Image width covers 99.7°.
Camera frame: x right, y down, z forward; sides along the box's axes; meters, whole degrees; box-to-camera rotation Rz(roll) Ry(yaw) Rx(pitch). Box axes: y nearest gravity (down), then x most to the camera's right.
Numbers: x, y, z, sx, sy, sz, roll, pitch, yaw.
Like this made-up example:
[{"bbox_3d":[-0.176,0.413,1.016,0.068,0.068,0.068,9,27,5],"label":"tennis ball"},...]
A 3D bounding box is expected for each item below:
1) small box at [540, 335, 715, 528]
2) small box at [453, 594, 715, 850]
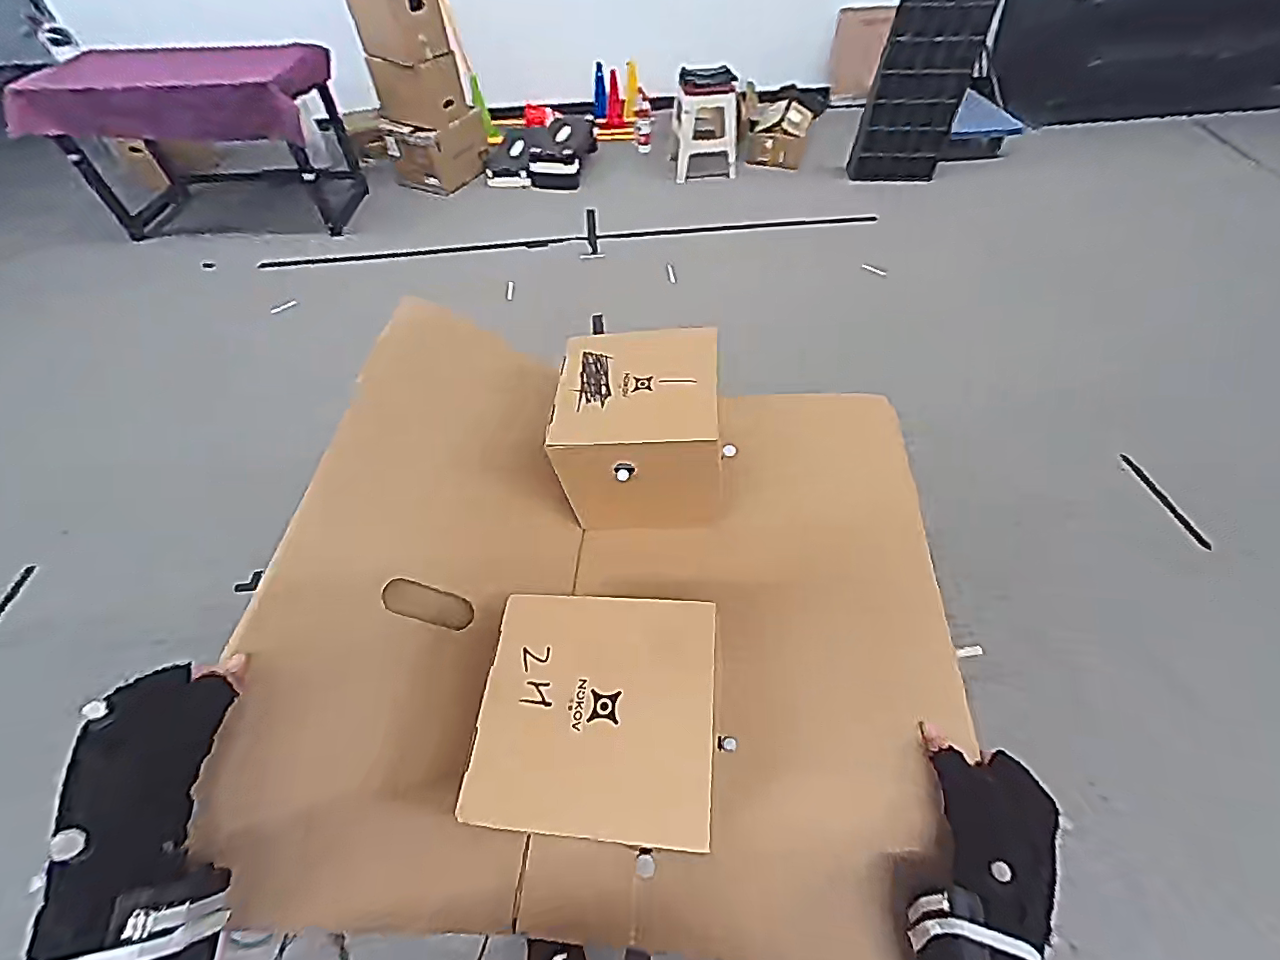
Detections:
[{"bbox_3d":[-0.001,-0.051,0.652,0.179,0.176,0.168,-1,55,9],"label":"small box"},{"bbox_3d":[-0.026,0.212,0.471,0.179,0.176,0.168,0,55,11],"label":"small box"}]
